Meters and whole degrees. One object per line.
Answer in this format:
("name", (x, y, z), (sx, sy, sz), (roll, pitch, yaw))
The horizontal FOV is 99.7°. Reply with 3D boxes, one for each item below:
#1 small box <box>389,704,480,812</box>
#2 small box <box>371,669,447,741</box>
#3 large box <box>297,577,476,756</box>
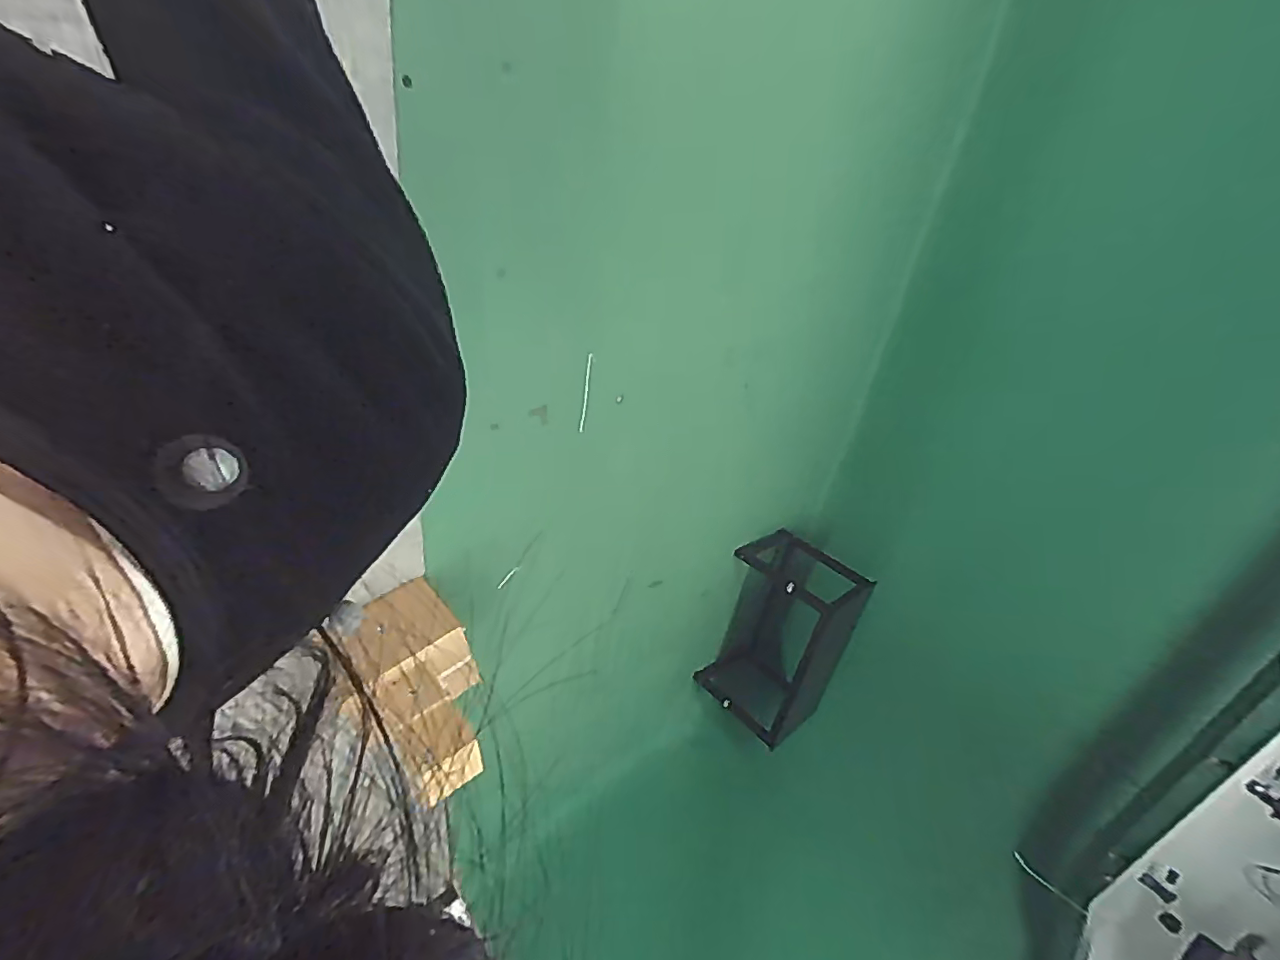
("small box", (-0.579, 0.778, 1.529), (0.179, 0.176, 0.168), (-24, 132, -35))
("small box", (-0.685, 0.700, 1.625), (0.168, 0.176, 0.179), (-25, 133, -34))
("large box", (-0.831, 0.606, 1.804), (0.408, 0.320, 0.320), (-32, 137, -32))
